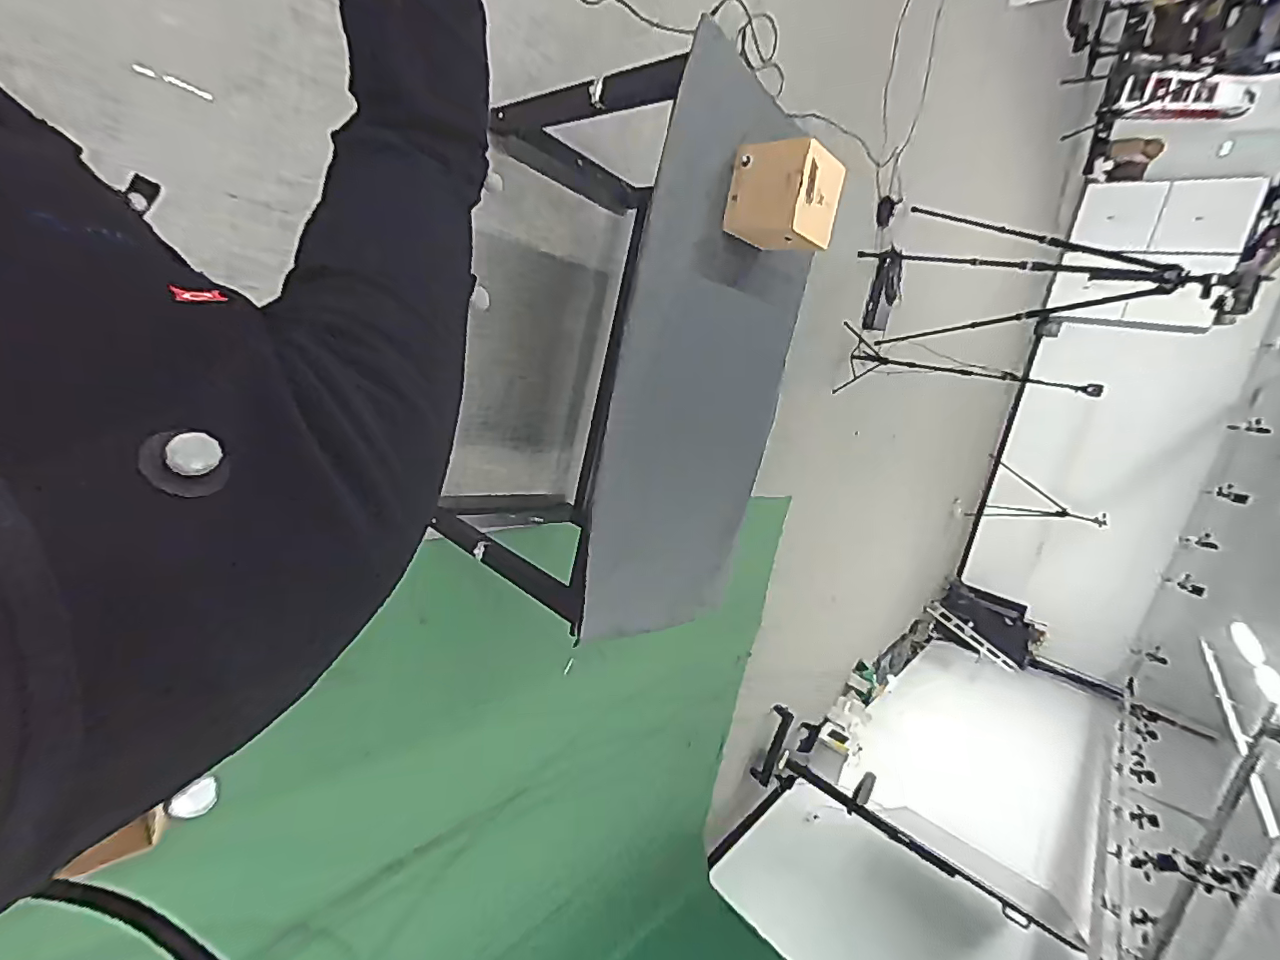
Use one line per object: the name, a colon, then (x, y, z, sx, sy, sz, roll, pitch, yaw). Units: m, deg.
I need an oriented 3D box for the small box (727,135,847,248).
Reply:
small box: (0.305, -0.596, 1.139, 0.179, 0.176, 0.168, -7, 113, -49)
